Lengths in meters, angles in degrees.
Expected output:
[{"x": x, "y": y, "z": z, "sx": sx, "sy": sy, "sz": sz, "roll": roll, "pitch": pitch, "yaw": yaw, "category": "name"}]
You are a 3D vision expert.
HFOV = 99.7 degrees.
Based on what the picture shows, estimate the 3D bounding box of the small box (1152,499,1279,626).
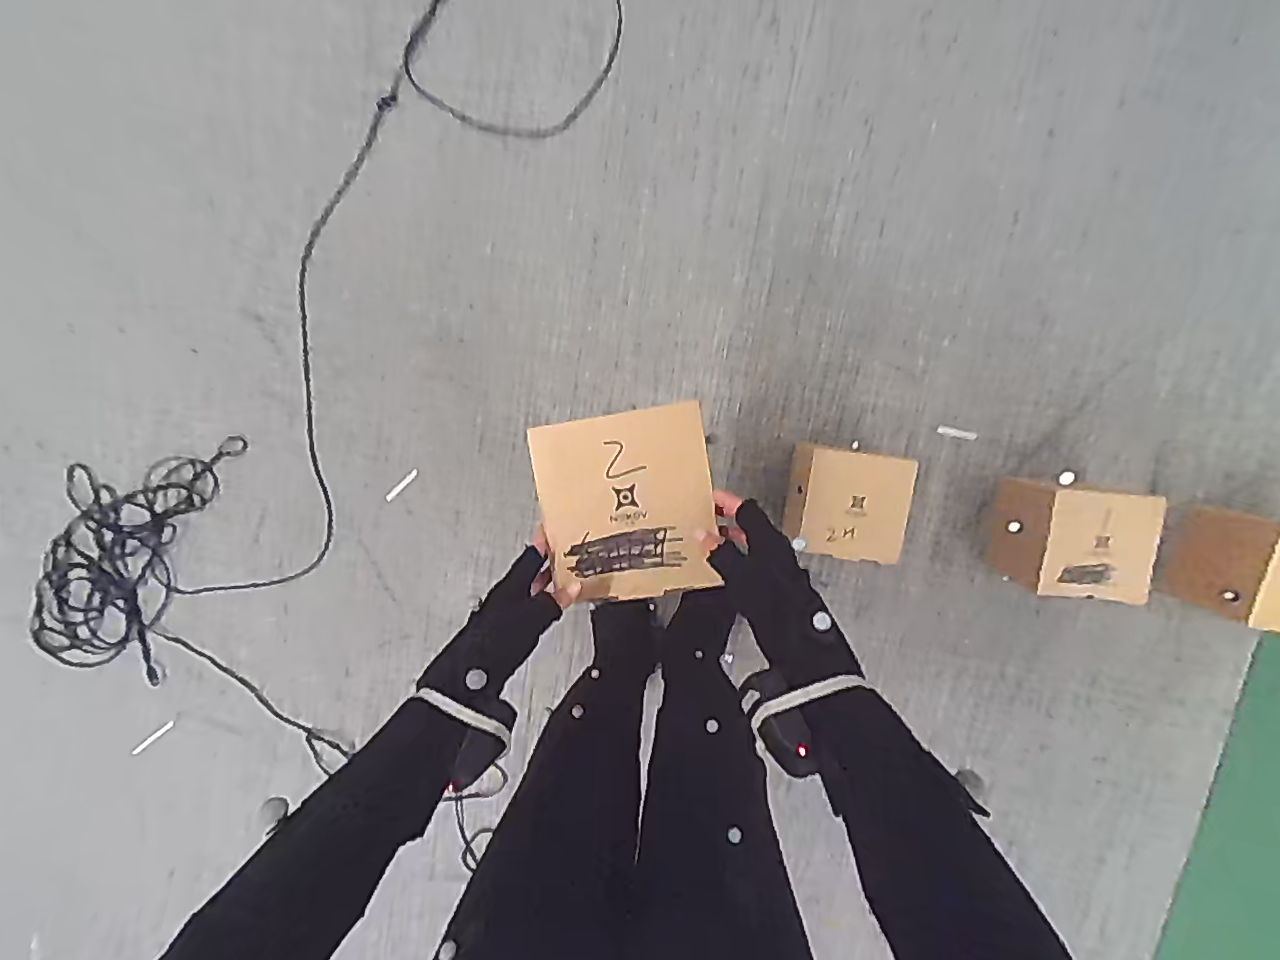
[{"x": 1.045, "y": 0.139, "z": 0.926, "sx": 0.168, "sy": 0.176, "sz": 0.179, "roll": 11, "pitch": 100, "yaw": 4, "category": "small box"}]

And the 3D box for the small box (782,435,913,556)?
[{"x": 0.358, "y": 0.018, "z": 0.968, "sx": 0.168, "sy": 0.176, "sz": 0.179, "roll": 9, "pitch": 100, "yaw": 5, "category": "small box"}]

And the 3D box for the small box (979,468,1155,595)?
[{"x": 0.727, "y": 0.082, "z": 0.946, "sx": 0.168, "sy": 0.176, "sz": 0.179, "roll": 6, "pitch": 98, "yaw": 4, "category": "small box"}]
